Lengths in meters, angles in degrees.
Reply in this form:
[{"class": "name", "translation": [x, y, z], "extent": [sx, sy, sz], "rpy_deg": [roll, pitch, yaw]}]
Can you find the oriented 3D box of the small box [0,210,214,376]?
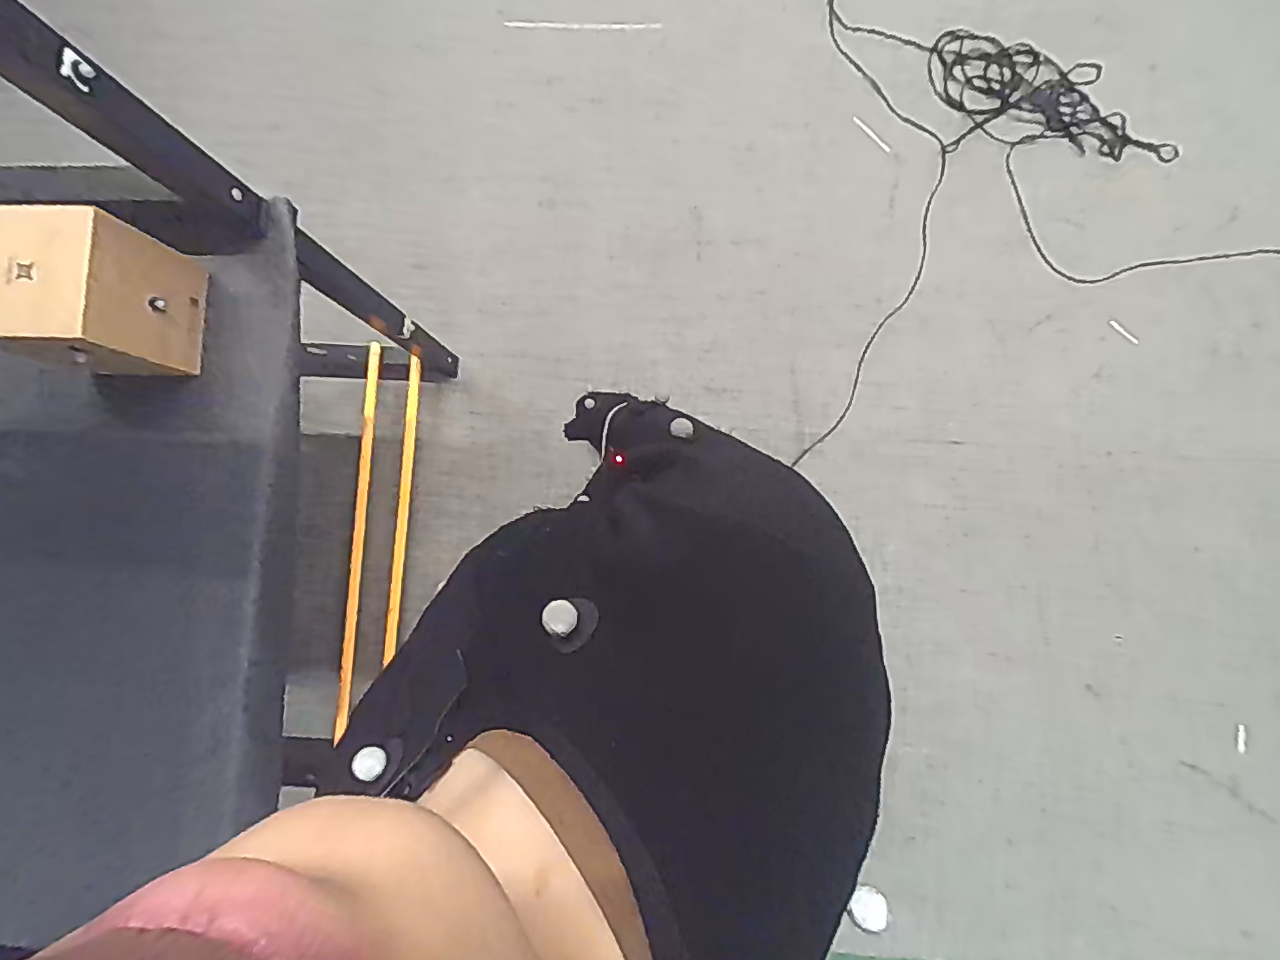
[{"class": "small box", "translation": [-0.732, -0.244, 0.739], "extent": [0.179, 0.176, 0.168], "rpy_deg": [1, 86, 4]}]
